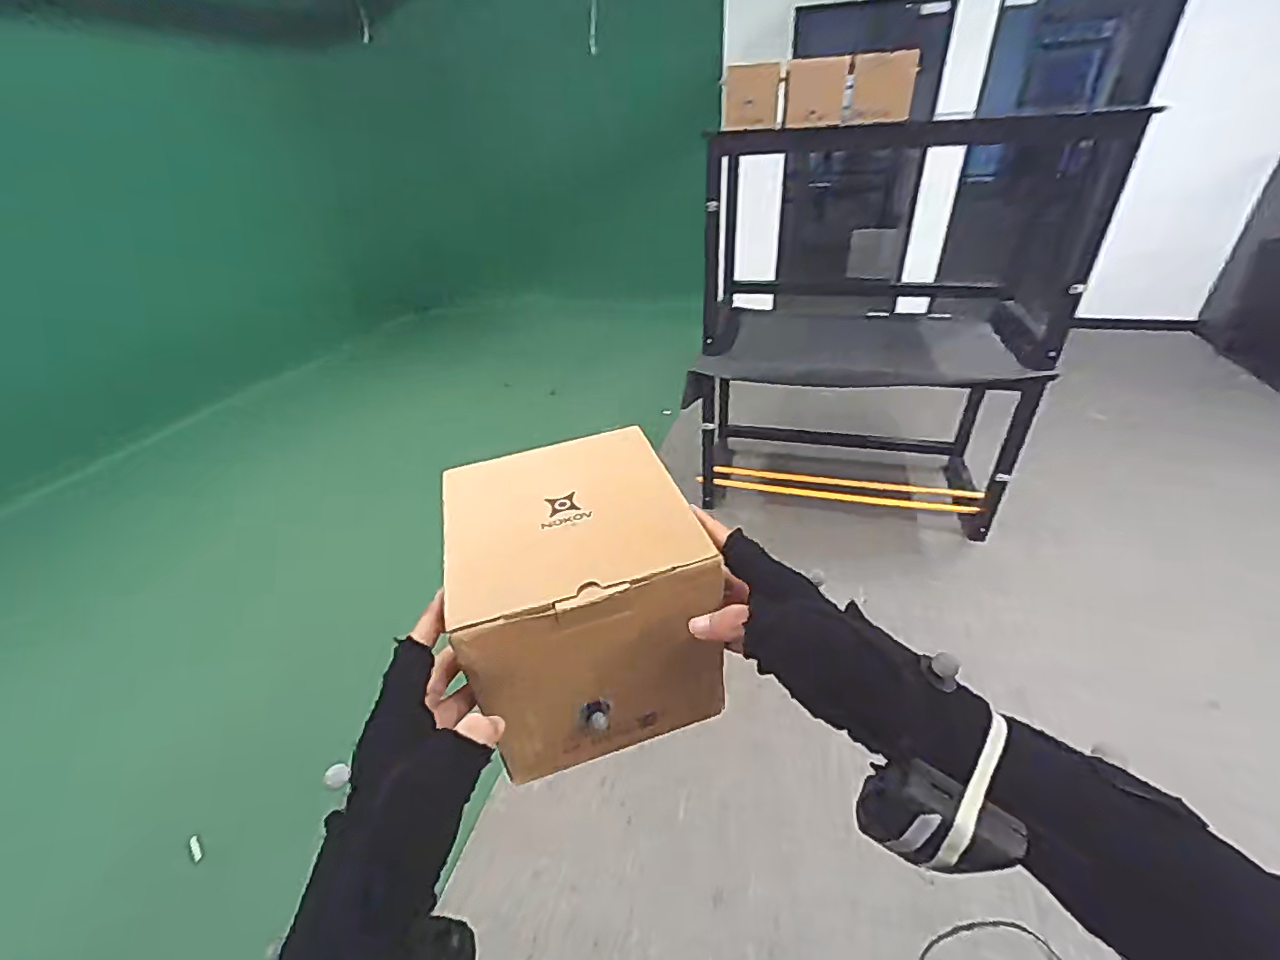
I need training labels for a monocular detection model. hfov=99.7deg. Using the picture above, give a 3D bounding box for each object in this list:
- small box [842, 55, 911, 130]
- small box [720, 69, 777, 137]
[{"bbox_3d":[0.716,-1.174,1.649,0.168,0.176,0.179,7,34,16],"label":"small box"},{"bbox_3d":[0.346,-1.207,1.738,0.168,0.176,0.179,3,33,8],"label":"small box"}]
